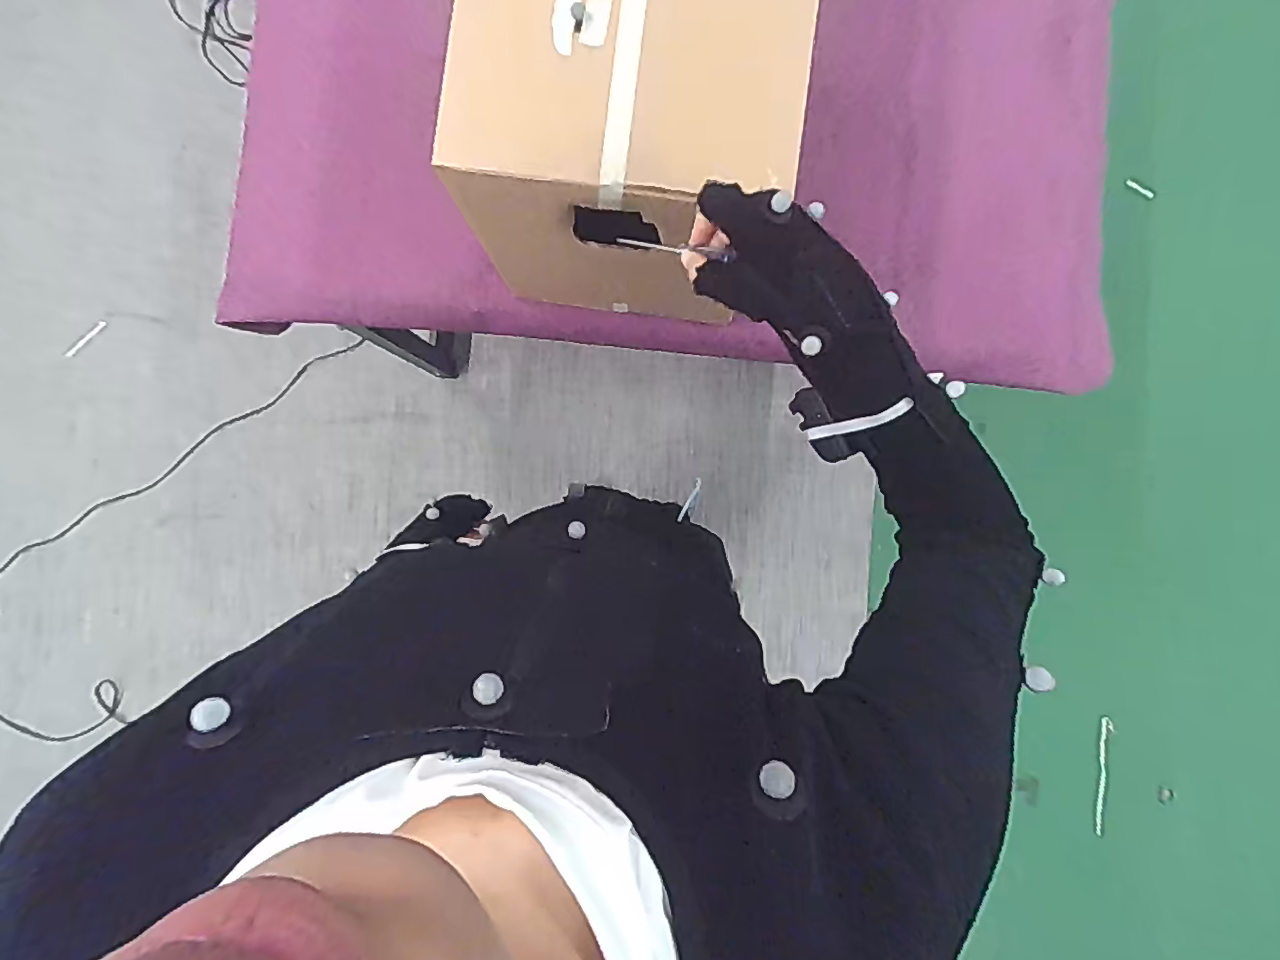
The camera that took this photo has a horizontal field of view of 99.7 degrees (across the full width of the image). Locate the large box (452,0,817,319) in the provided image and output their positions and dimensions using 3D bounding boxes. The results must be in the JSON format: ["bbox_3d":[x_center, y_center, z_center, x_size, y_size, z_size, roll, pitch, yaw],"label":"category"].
[{"bbox_3d":[0.003,-0.449,0.632,0.320,0.320,0.408,8,89,0],"label":"large box"}]
